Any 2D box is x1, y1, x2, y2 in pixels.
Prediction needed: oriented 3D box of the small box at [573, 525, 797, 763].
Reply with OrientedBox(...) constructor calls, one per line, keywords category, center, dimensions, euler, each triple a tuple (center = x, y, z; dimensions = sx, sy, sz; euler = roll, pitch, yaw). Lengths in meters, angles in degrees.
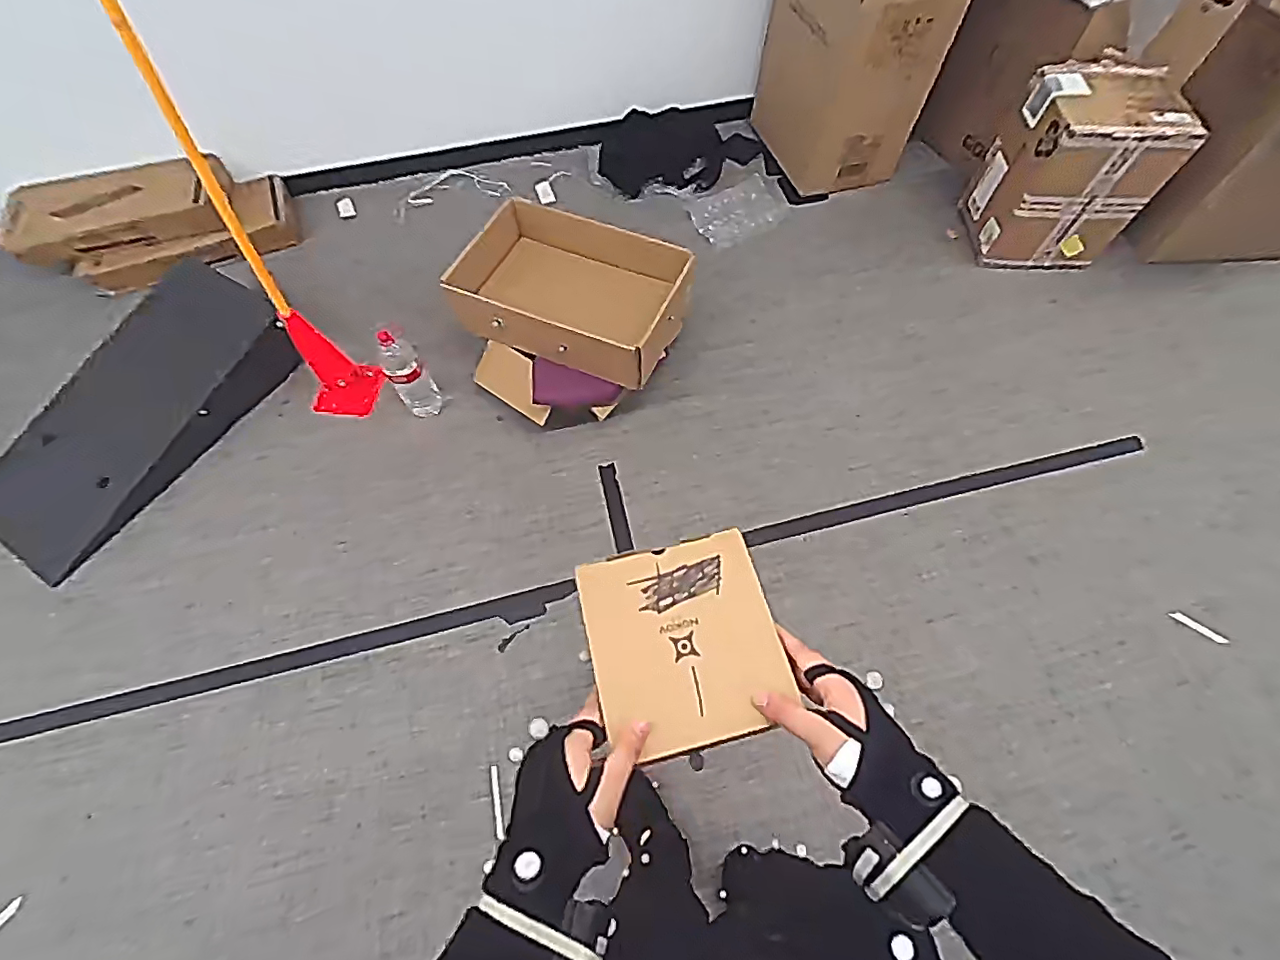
OrientedBox(category="small box", center=(0.033, 0.172, 0.548), dimensions=(0.168, 0.176, 0.179), euler=(-13, 62, -6))
